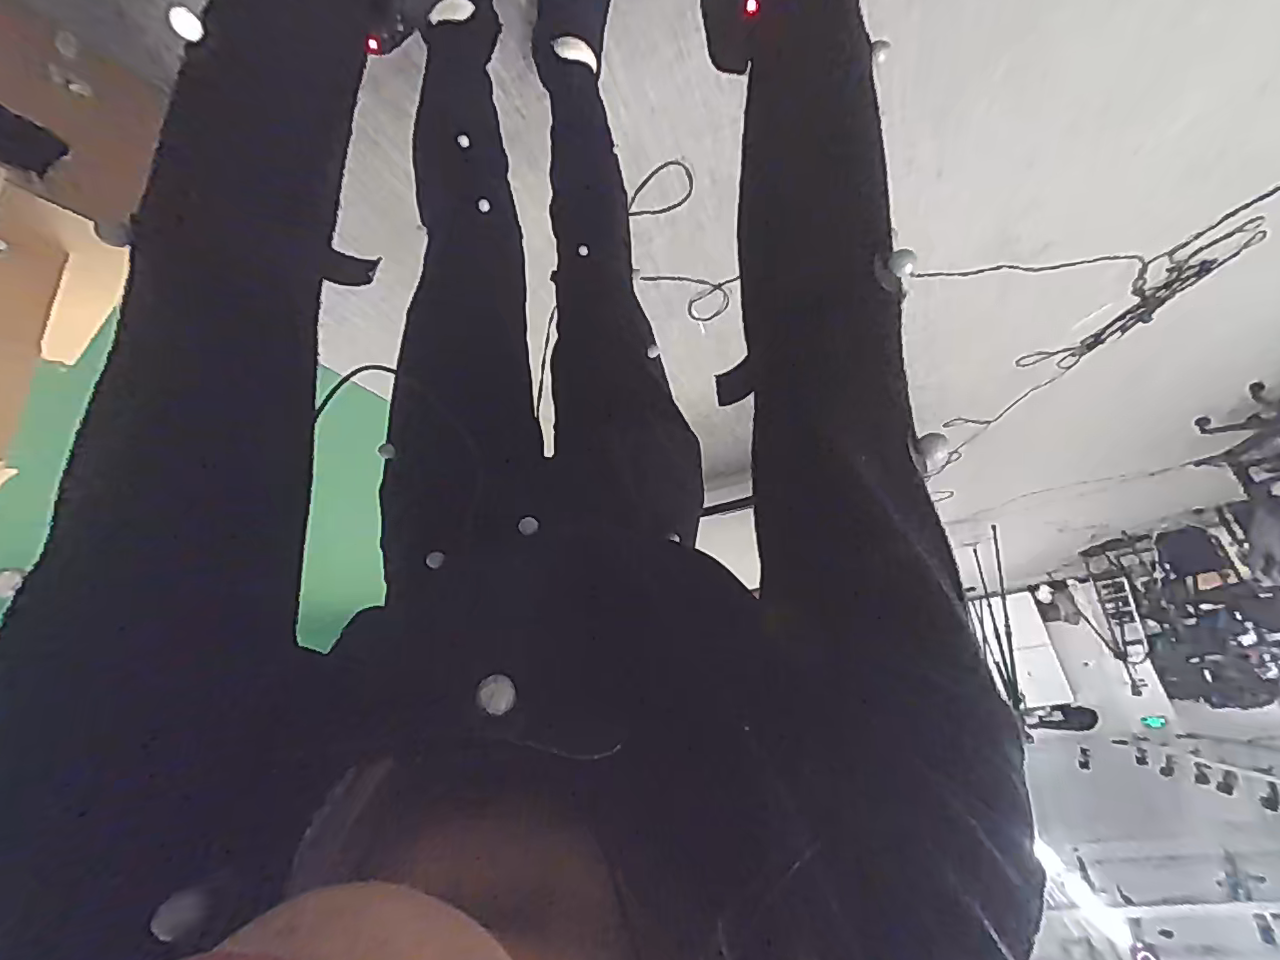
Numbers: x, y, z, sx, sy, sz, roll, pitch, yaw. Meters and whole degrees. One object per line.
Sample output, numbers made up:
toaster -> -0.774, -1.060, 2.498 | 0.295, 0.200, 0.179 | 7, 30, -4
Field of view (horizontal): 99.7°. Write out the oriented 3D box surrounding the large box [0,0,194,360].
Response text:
large box -> -0.959, -0.454, 0.824 | 0.408, 0.320, 0.320 | -21, 153, 30

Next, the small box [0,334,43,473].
small box -> -0.874, -0.097, 0.642 | 0.168, 0.176, 0.179 | -20, 155, 25

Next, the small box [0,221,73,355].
small box -> -0.903, -0.241, 0.714 | 0.179, 0.176, 0.168 | -21, 155, 26
